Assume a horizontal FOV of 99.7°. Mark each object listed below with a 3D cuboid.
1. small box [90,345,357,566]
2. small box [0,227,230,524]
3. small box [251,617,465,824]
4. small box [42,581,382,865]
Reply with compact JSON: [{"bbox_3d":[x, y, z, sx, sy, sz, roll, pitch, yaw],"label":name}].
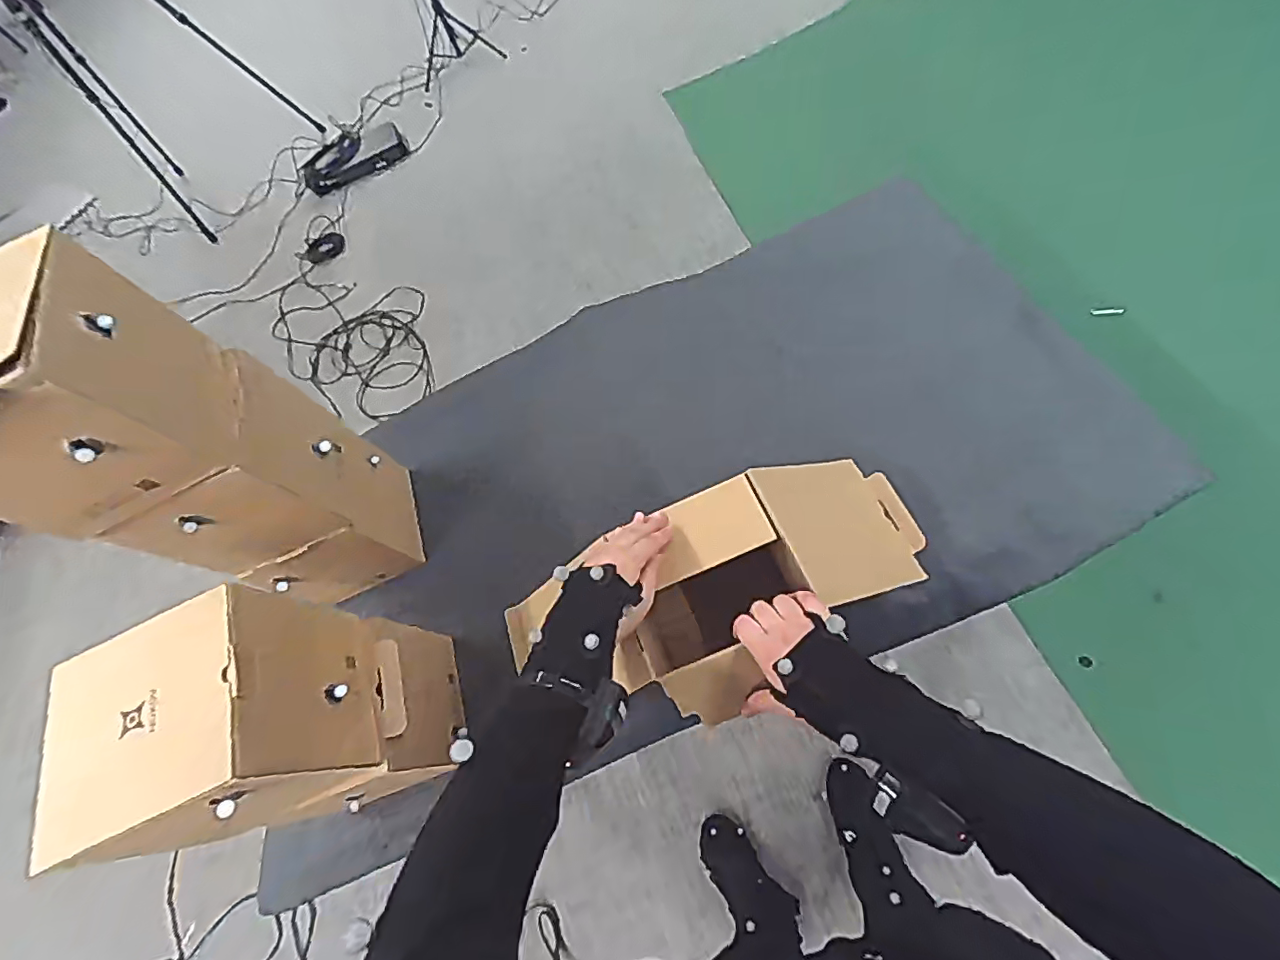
[{"bbox_3d":[-0.470,-0.017,0.634,0.179,0.176,0.168,-23,64,3],"label":"small box"},{"bbox_3d":[-0.513,-0.078,0.490,0.168,0.176,0.179,-26,62,0],"label":"small box"},{"bbox_3d":[-0.330,0.282,0.652,0.179,0.176,0.168,-23,63,4],"label":"small box"},{"bbox_3d":[-0.381,0.222,0.509,0.179,0.176,0.168,-26,63,1],"label":"small box"}]
